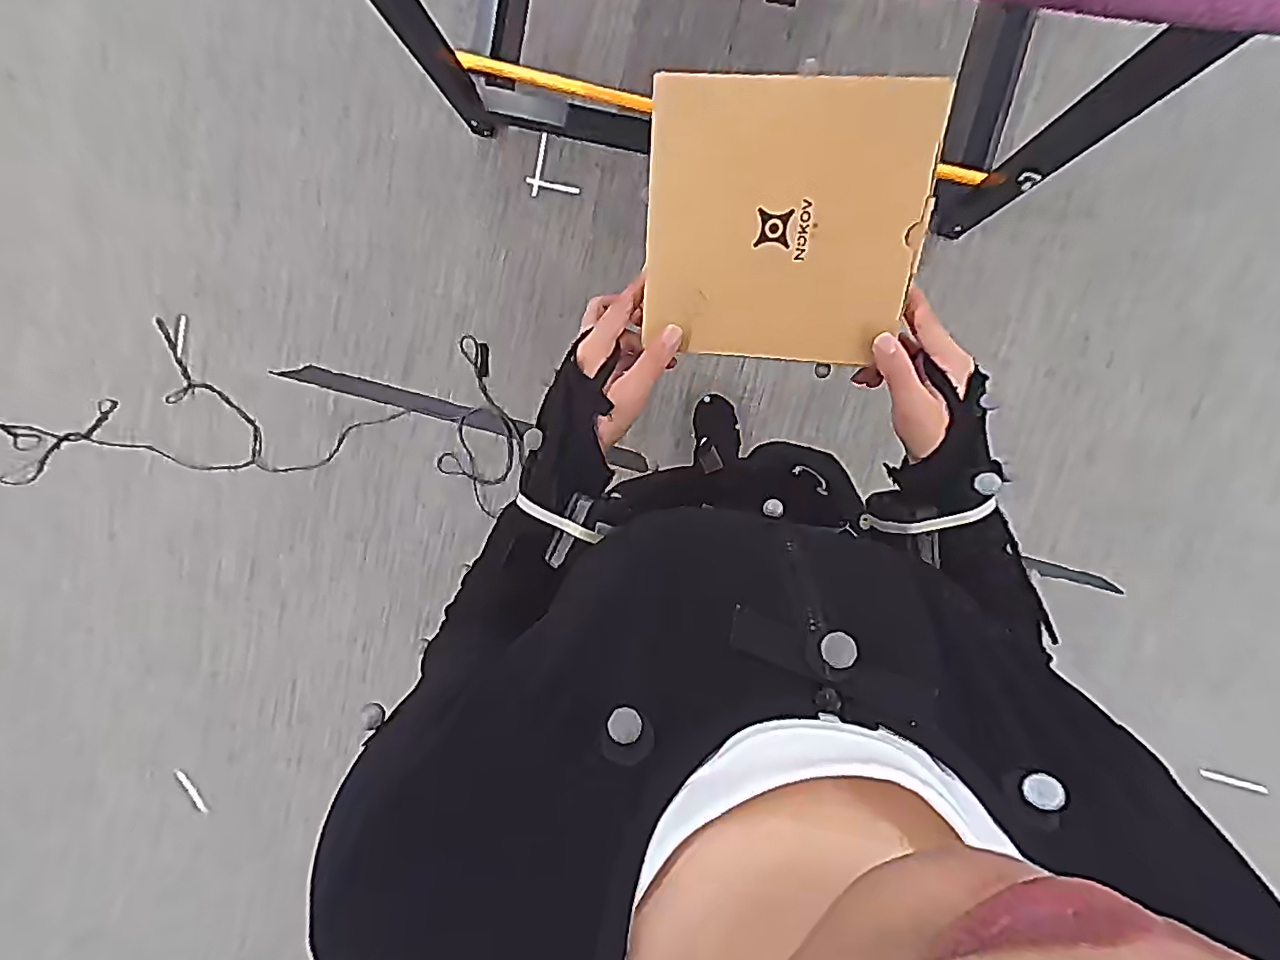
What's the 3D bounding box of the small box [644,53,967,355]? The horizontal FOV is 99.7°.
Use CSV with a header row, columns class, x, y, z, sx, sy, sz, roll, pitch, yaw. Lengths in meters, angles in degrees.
class,x,y,z,sx,sy,sz,roll,pitch,yaw
small box,0.104,-0.197,0.415,0.179,0.176,0.168,5,112,5
